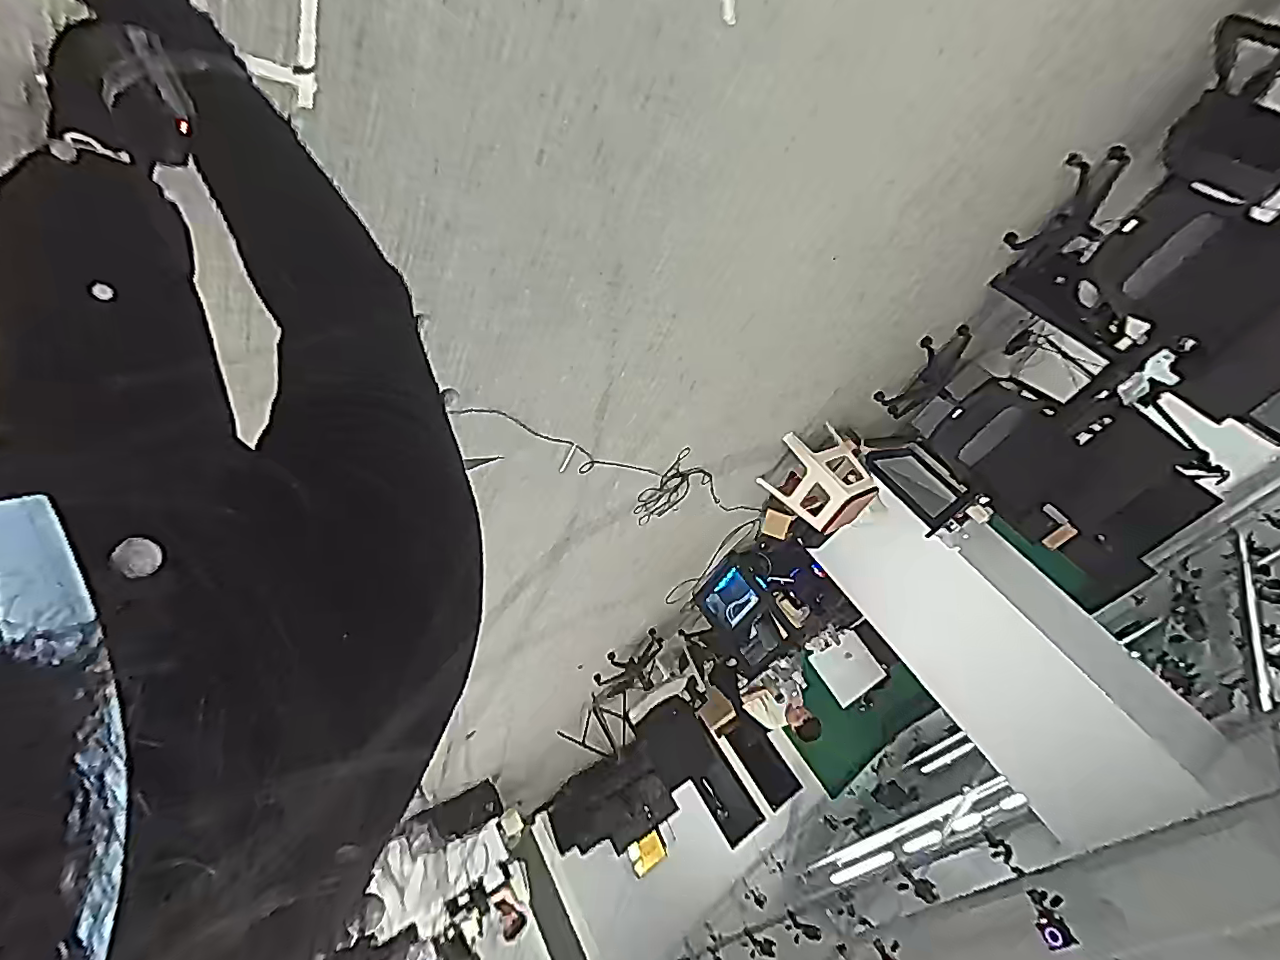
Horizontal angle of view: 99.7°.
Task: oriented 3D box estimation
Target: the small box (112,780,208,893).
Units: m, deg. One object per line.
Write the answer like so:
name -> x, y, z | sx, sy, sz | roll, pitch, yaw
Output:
small box -> -1.245, 0.921, 1.409 | 0.168, 0.176, 0.179 | -11, 142, -40
